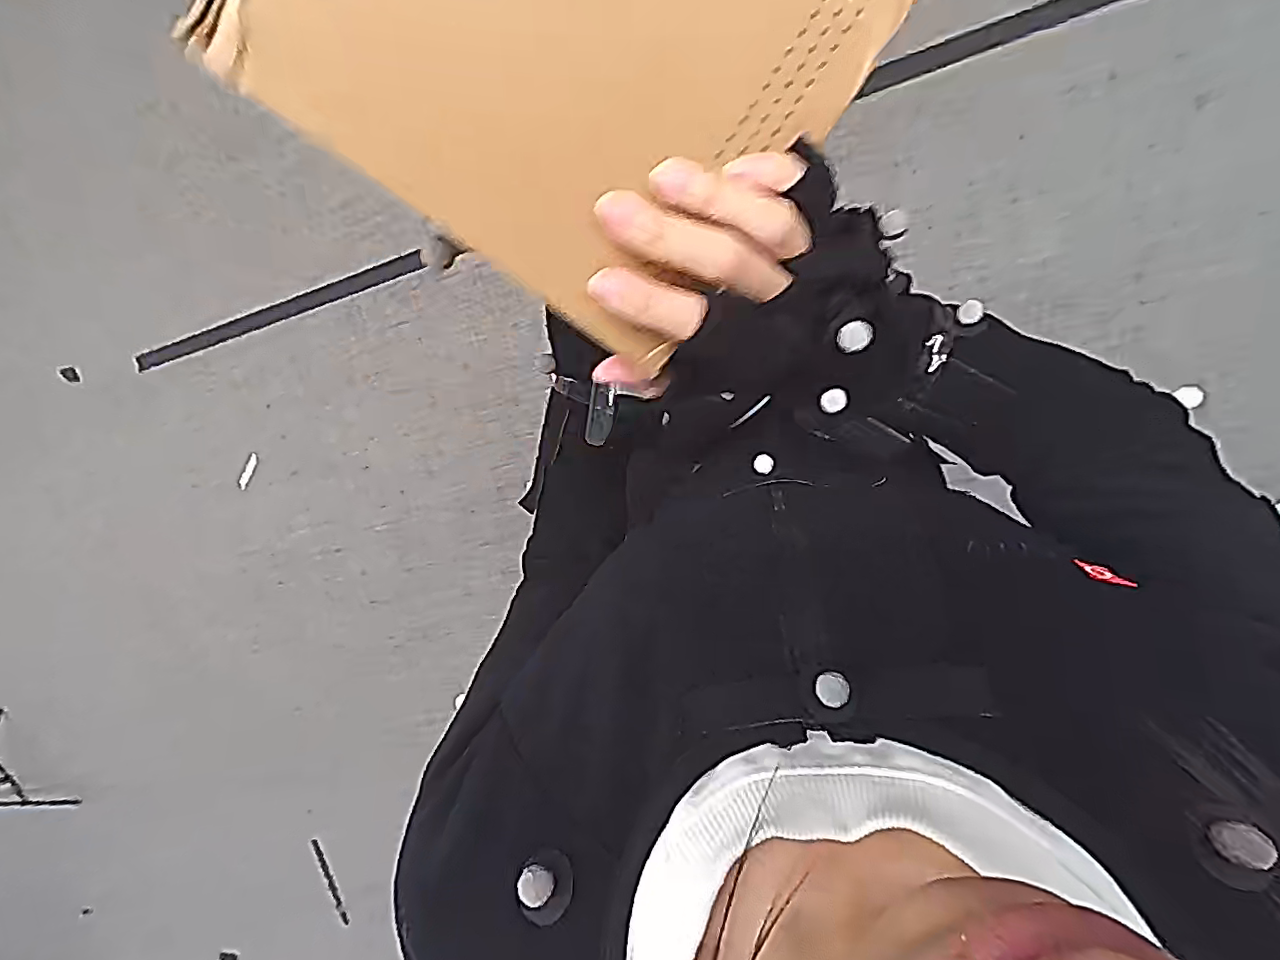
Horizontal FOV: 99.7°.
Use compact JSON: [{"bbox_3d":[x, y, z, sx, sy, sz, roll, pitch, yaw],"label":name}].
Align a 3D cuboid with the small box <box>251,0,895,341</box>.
[{"bbox_3d":[-0.027,-0.190,0.241,0.176,0.168,0.179,29,102,-34],"label":"small box"}]
